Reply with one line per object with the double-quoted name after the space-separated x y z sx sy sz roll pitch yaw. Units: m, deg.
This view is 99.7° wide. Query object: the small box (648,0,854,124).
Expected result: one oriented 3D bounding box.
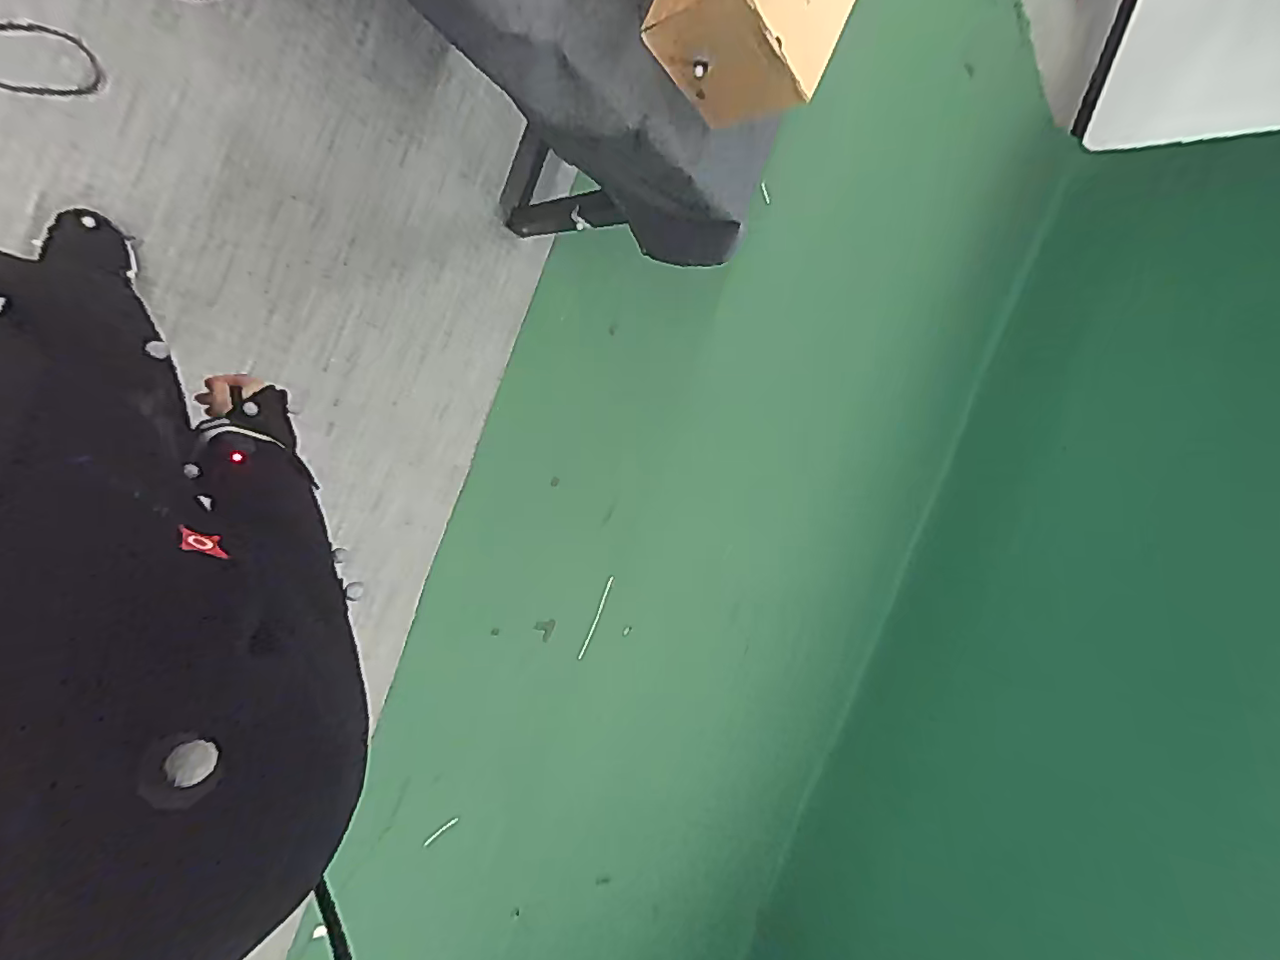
0.138 -0.592 0.675 0.168 0.176 0.179 25 89 -44 "small box"
